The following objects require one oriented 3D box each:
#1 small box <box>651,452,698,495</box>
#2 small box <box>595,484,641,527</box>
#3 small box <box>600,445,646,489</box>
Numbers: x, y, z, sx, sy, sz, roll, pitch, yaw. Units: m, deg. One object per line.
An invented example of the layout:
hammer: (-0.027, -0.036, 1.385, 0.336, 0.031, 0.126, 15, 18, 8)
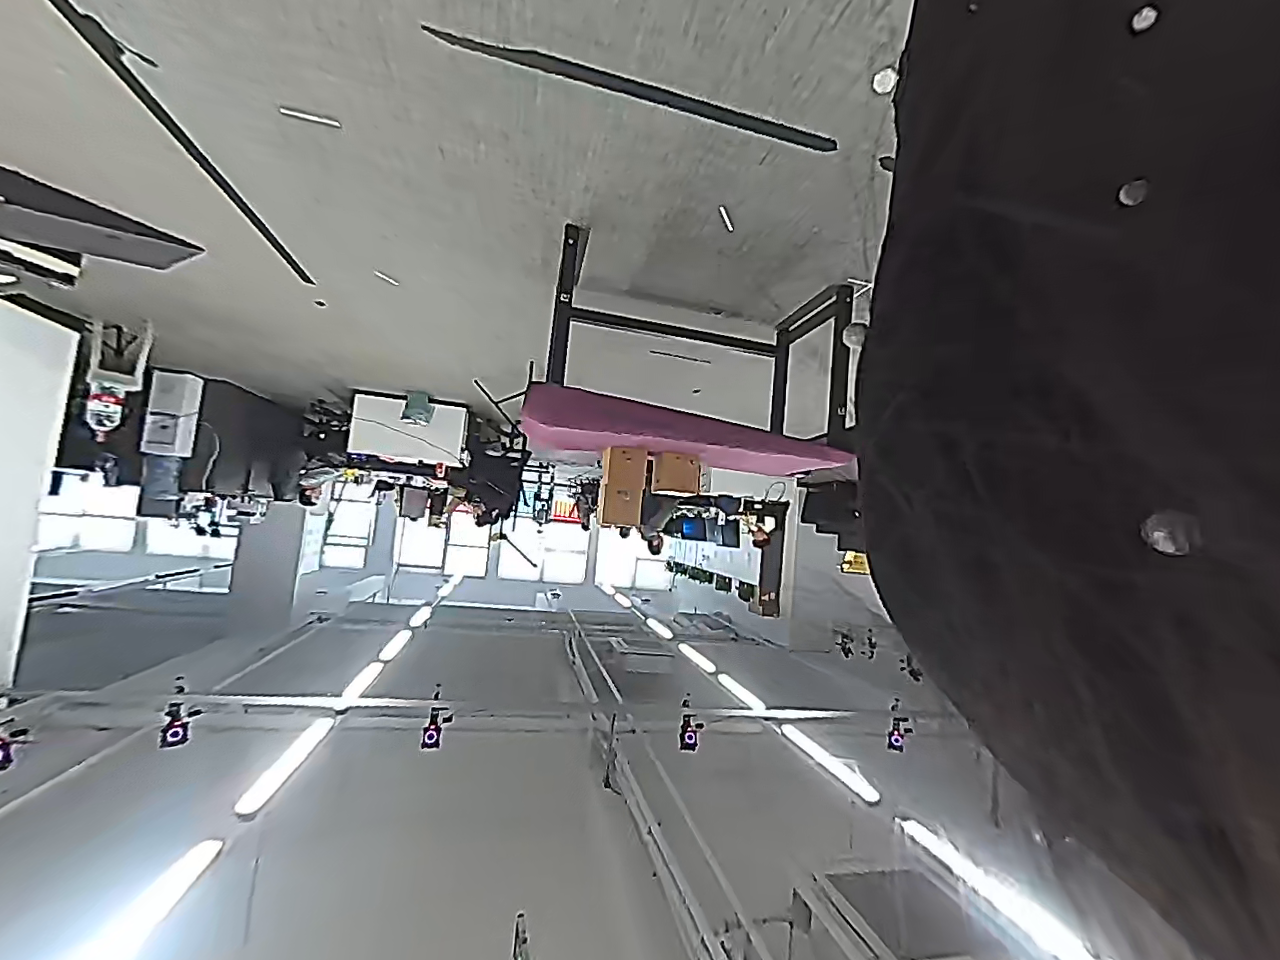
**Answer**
small box: (0.154, -0.027, 2.386, 0.168, 0.176, 0.179, 7, 175, -13)
small box: (-0.095, 0.110, 2.340, 0.168, 0.176, 0.179, 5, 174, -11)
small box: (-0.074, -0.051, 2.352, 0.168, 0.176, 0.179, 6, 174, -14)
